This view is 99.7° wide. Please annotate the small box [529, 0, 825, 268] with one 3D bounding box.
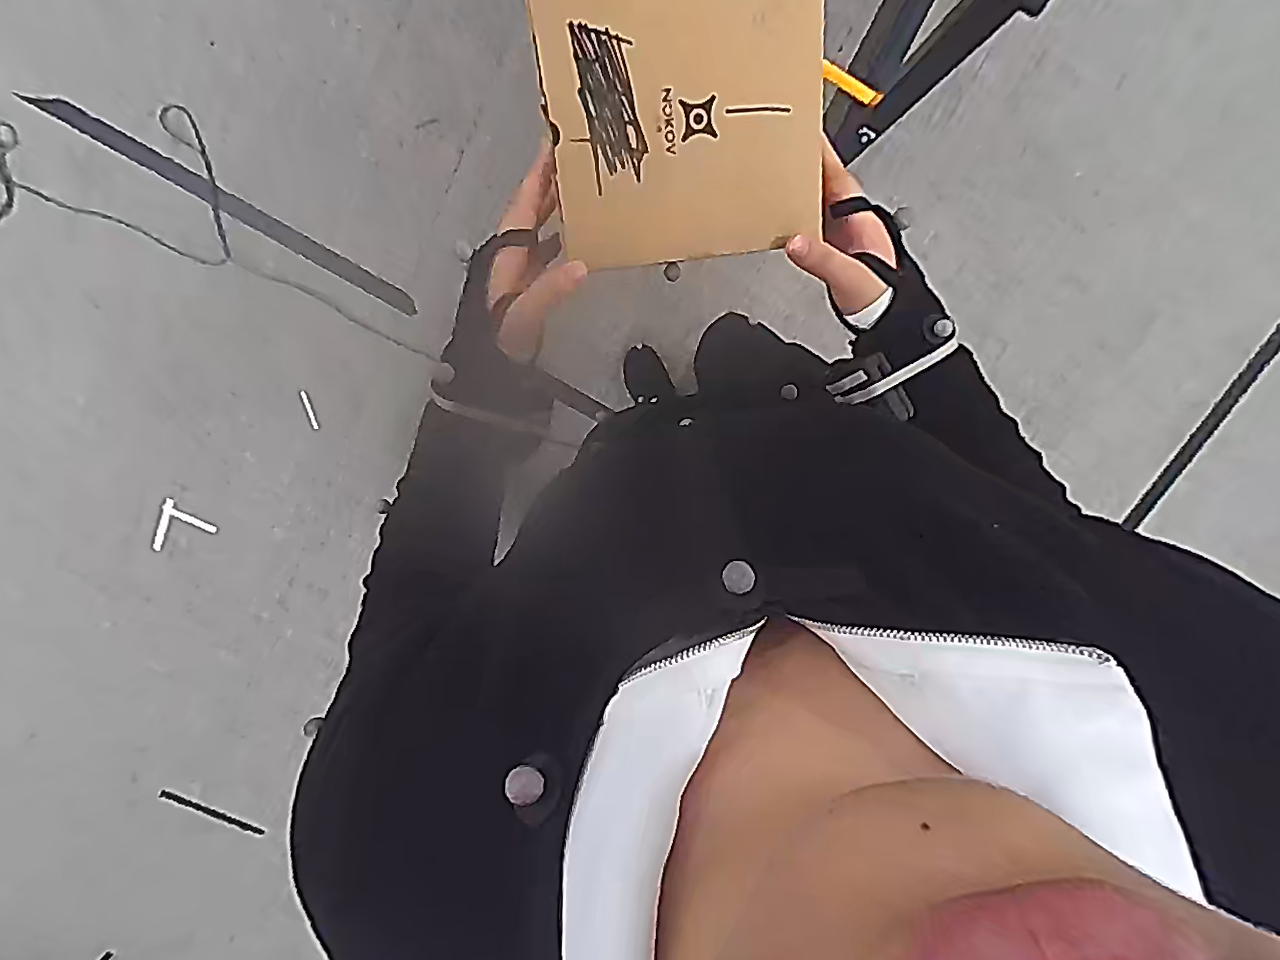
[{"bbox_3d":[0.026,-0.257,0.412,0.179,0.176,0.168,-7,112,0],"label":"small box"}]
